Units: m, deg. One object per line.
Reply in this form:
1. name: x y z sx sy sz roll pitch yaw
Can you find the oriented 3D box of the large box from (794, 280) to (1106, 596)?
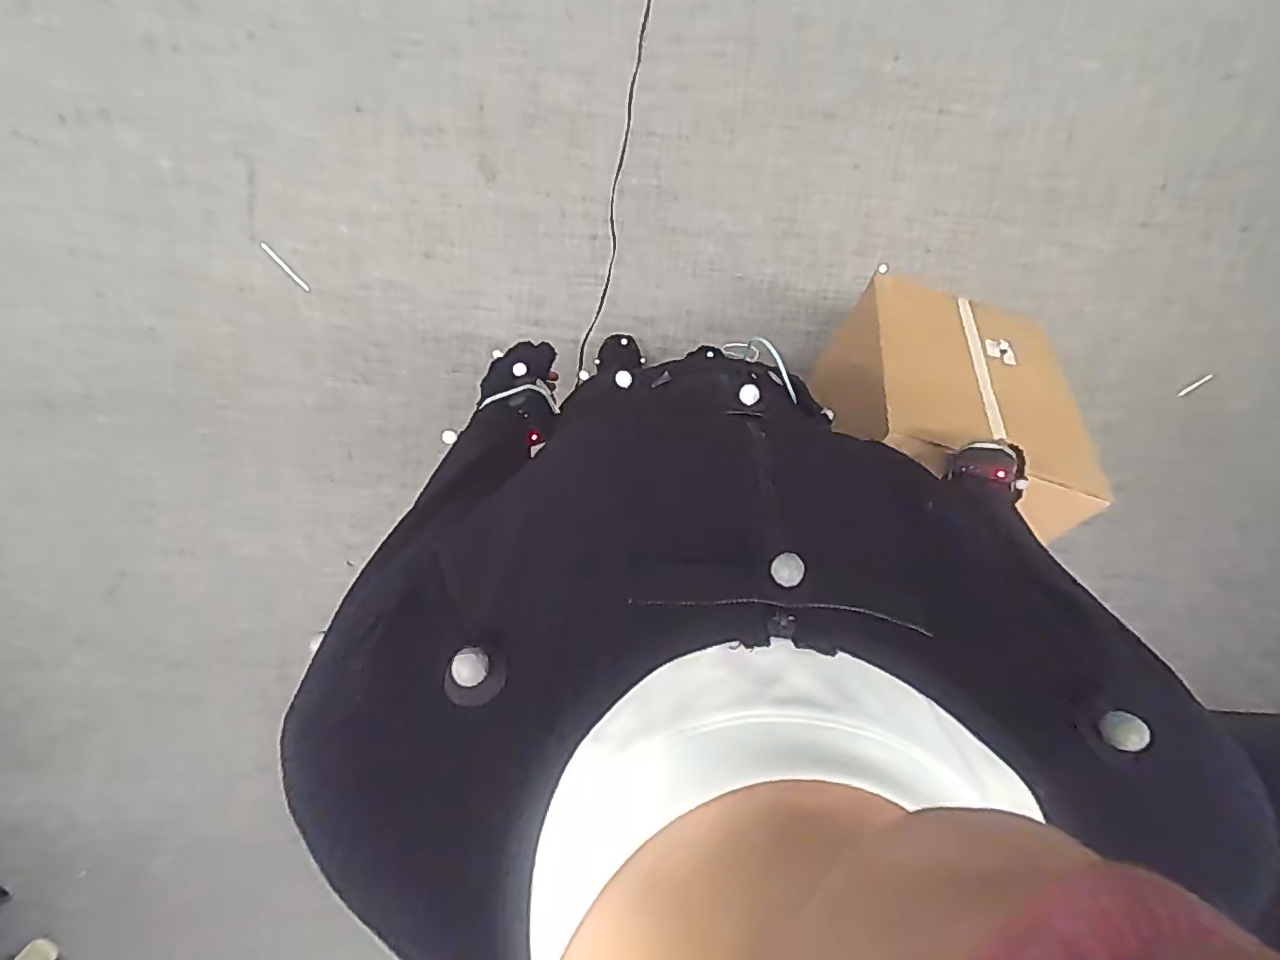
1. large box: 0.478 -0.071 0.942 0.320 0.408 0.320 18 141 -2
